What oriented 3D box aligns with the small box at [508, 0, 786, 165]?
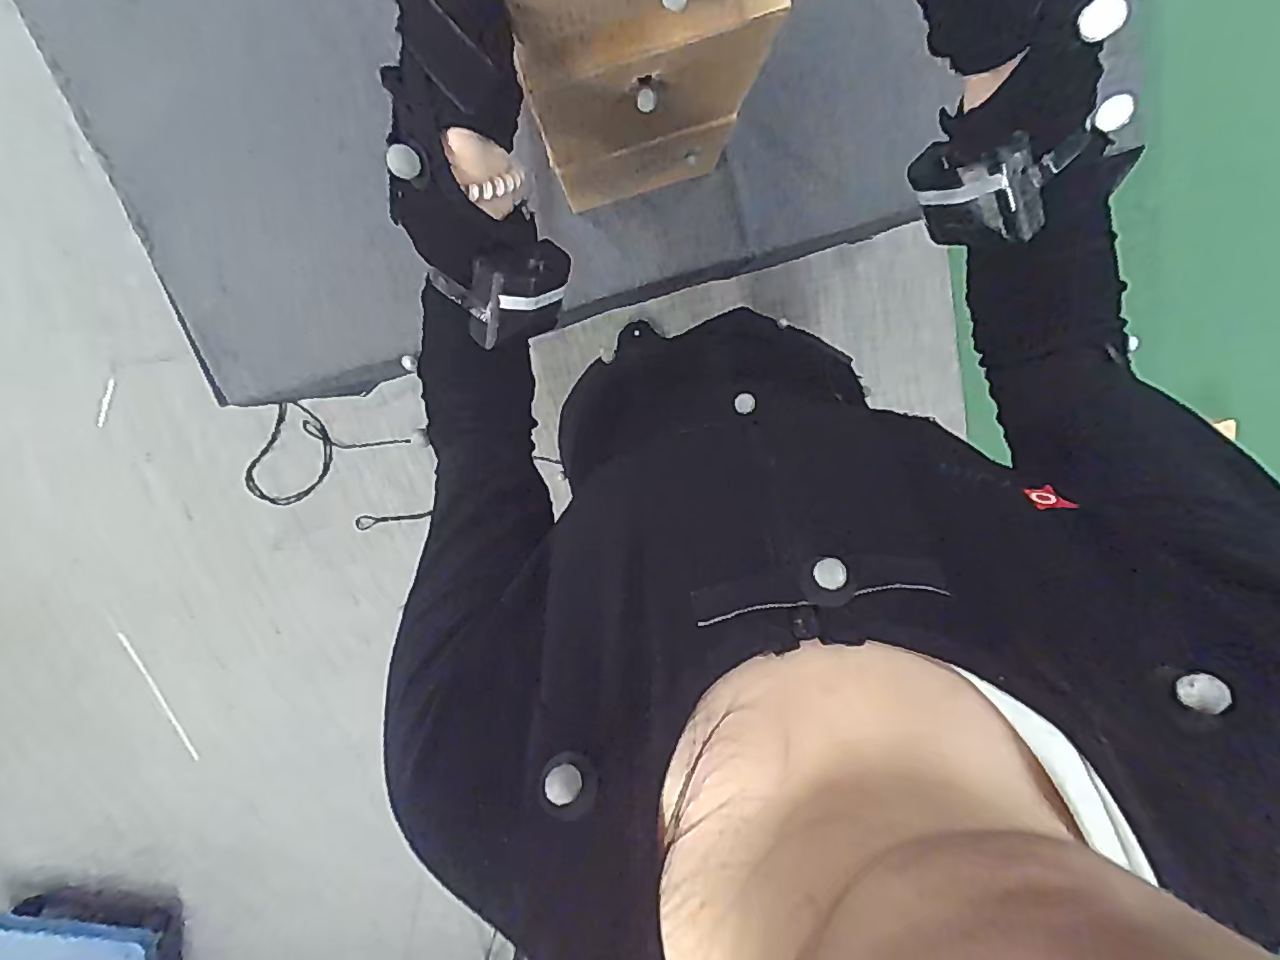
[{"bbox_3d":[-0.013,-0.367,0.402,0.179,0.176,0.168,-16,104,3],"label":"small box"}]
